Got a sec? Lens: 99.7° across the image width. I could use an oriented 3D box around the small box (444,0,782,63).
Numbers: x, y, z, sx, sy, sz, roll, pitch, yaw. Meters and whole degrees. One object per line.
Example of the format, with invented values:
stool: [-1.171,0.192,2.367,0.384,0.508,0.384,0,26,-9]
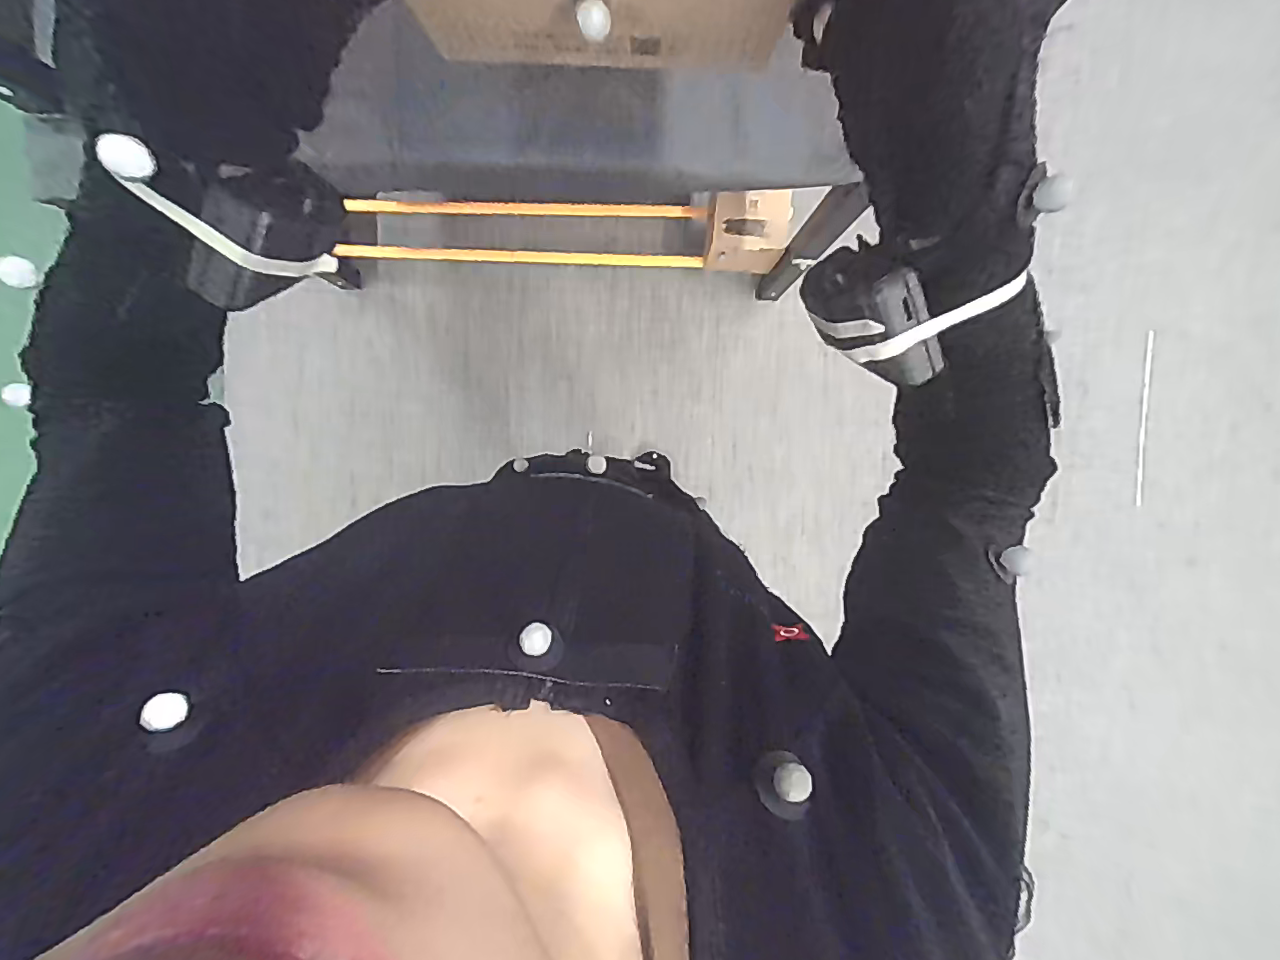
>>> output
small box: [-0.014,-0.285,0.178,0.168,0.176,0.179,3,102,0]
